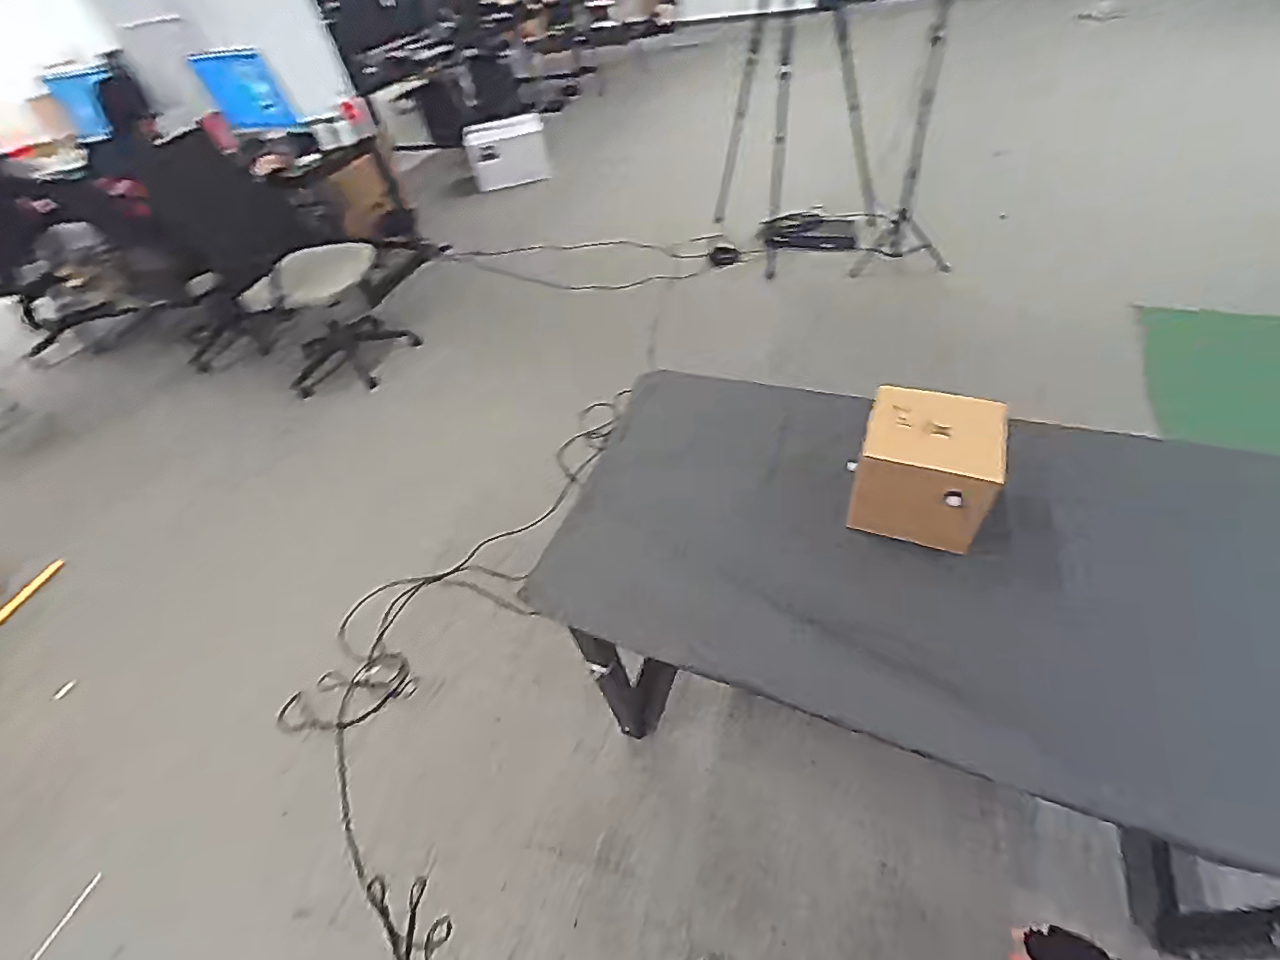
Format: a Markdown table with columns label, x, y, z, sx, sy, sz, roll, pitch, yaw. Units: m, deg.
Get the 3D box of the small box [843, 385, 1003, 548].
| label | x | y | z | sx | sy | sz | roll | pitch | yaw |
| --- | --- | --- | --- | --- | --- | --- | --- | --- | --- |
| small box | 0.428 | -0.018 | 0.832 | 0.179 | 0.176 | 0.168 | 14 | 52 | 22 |
